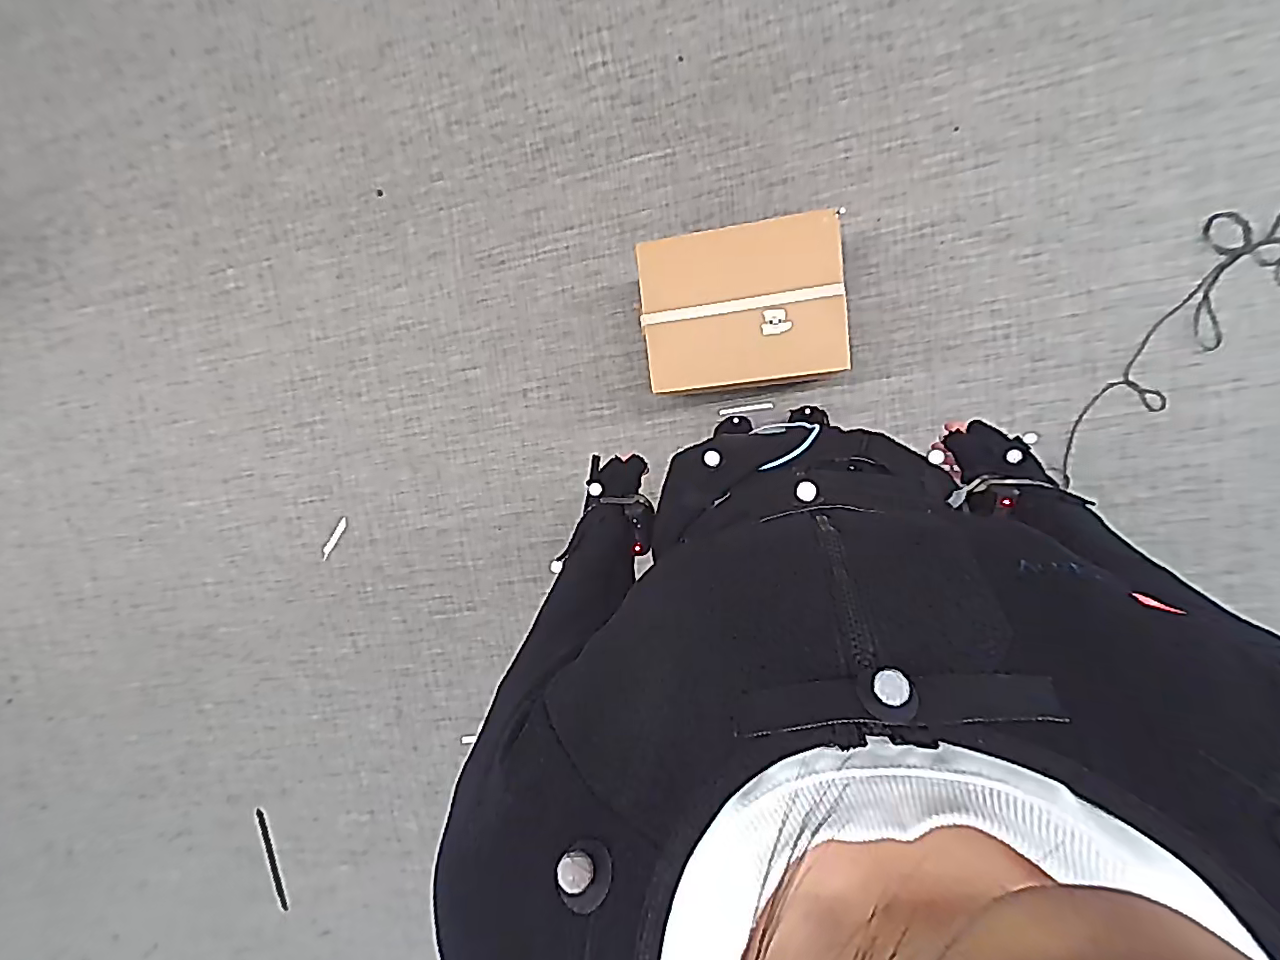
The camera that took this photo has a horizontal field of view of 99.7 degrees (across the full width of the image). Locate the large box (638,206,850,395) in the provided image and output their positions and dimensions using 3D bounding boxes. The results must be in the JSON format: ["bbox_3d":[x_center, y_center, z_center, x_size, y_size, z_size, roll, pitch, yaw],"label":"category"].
[{"bbox_3d":[0.232,-0.379,1.245,0.408,0.320,0.320,-6,97,11],"label":"large box"}]
